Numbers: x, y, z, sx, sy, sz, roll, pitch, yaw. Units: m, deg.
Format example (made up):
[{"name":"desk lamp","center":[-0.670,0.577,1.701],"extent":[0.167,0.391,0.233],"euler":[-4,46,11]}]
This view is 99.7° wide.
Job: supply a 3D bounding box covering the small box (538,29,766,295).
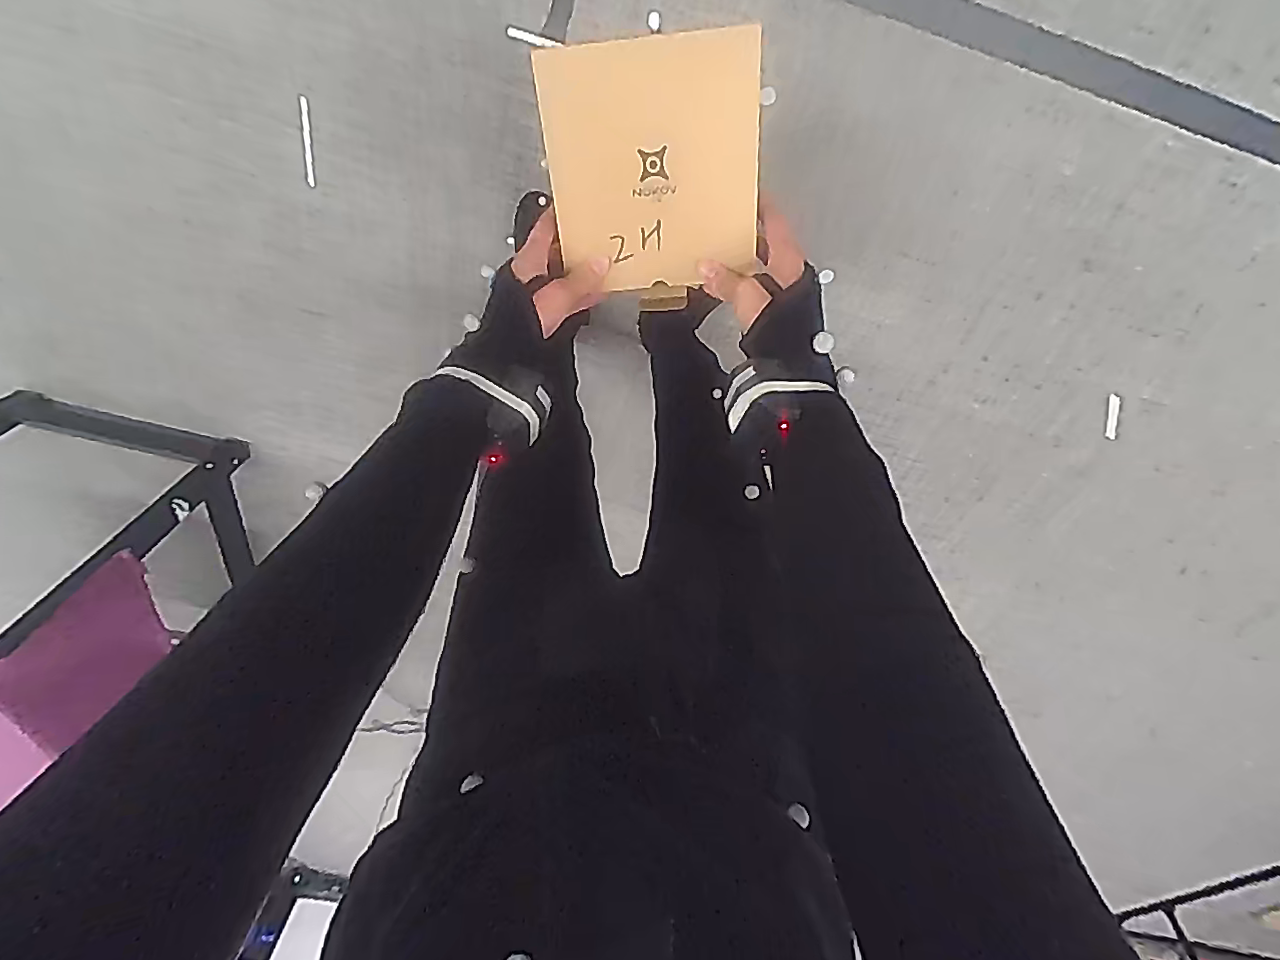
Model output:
[{"name":"small box","center":[0.018,-0.288,0.494],"extent":[0.168,0.176,0.179],"euler":[-2,129,7]}]
